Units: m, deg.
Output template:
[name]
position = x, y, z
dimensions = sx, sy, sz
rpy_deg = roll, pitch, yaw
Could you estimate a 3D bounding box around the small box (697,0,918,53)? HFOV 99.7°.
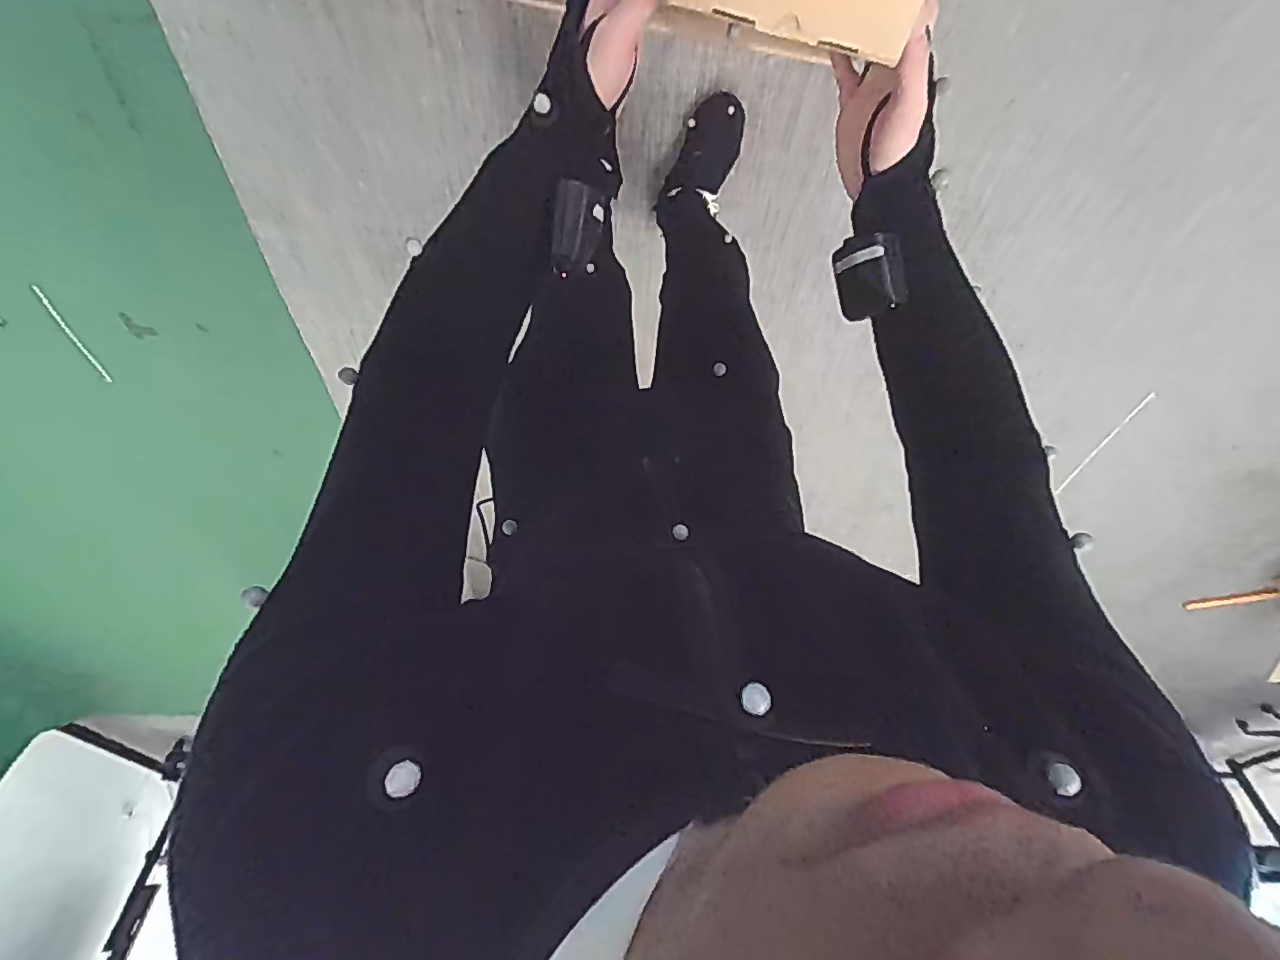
[small box]
position = 0.104, -0.411, 0.347
dimensions = 0.168, 0.176, 0.179
rpy_deg = 7, 133, -10
